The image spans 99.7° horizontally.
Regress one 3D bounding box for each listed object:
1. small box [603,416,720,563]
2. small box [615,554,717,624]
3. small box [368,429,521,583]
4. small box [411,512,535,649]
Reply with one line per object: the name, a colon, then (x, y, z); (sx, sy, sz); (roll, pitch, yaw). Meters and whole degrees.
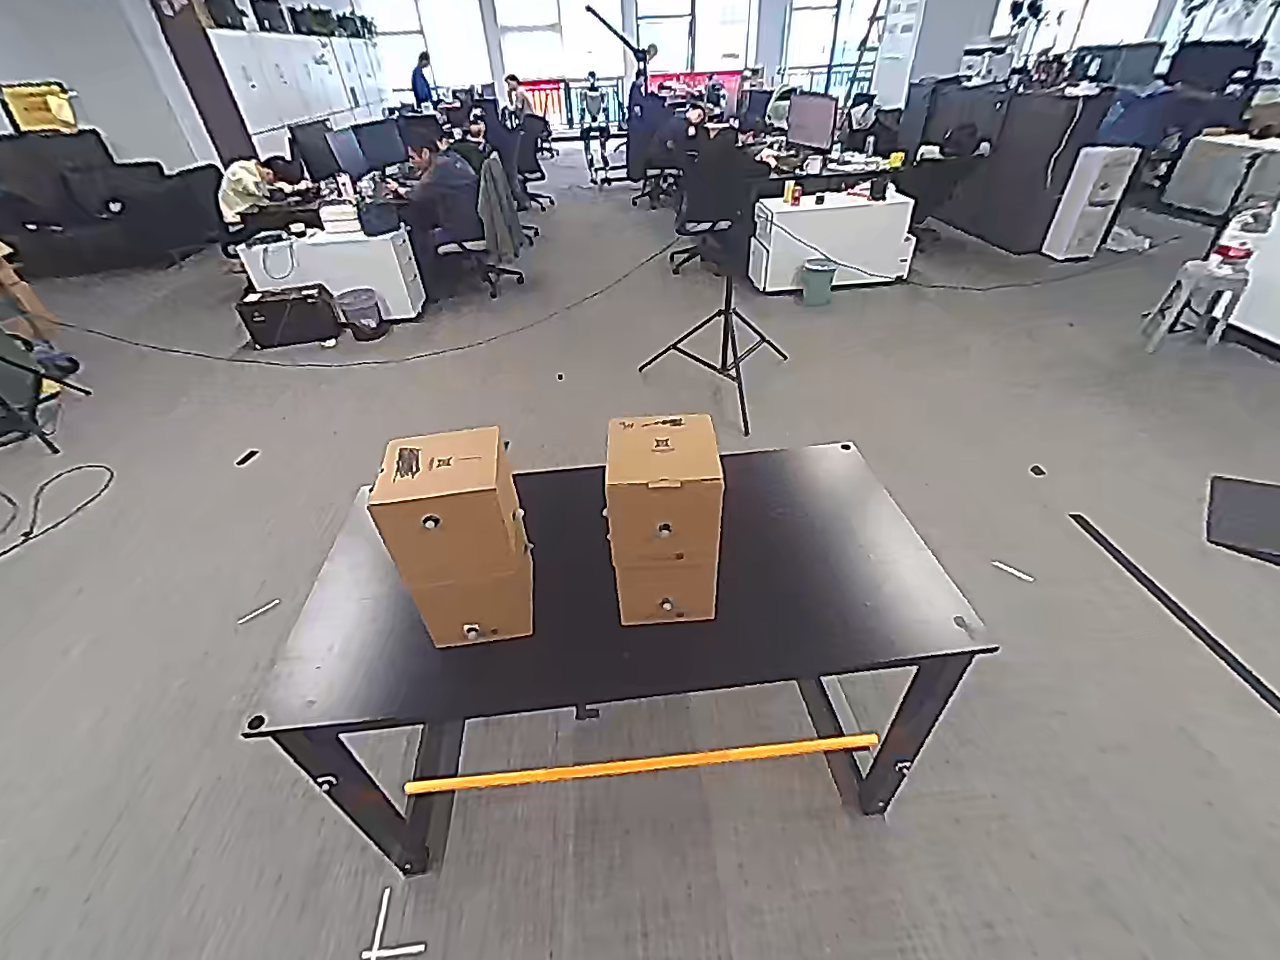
small box: (0.036, 0.018, 0.855); (0.168, 0.176, 0.179); (-2, 39, 2)
small box: (0.041, 0.135, 0.972); (0.168, 0.176, 0.179); (-4, 38, 0)
small box: (-0.293, 0.042, 0.851); (0.179, 0.176, 0.168); (-8, 39, -6)
small box: (-0.283, 0.169, 0.956); (0.168, 0.176, 0.179); (-9, 40, -5)
